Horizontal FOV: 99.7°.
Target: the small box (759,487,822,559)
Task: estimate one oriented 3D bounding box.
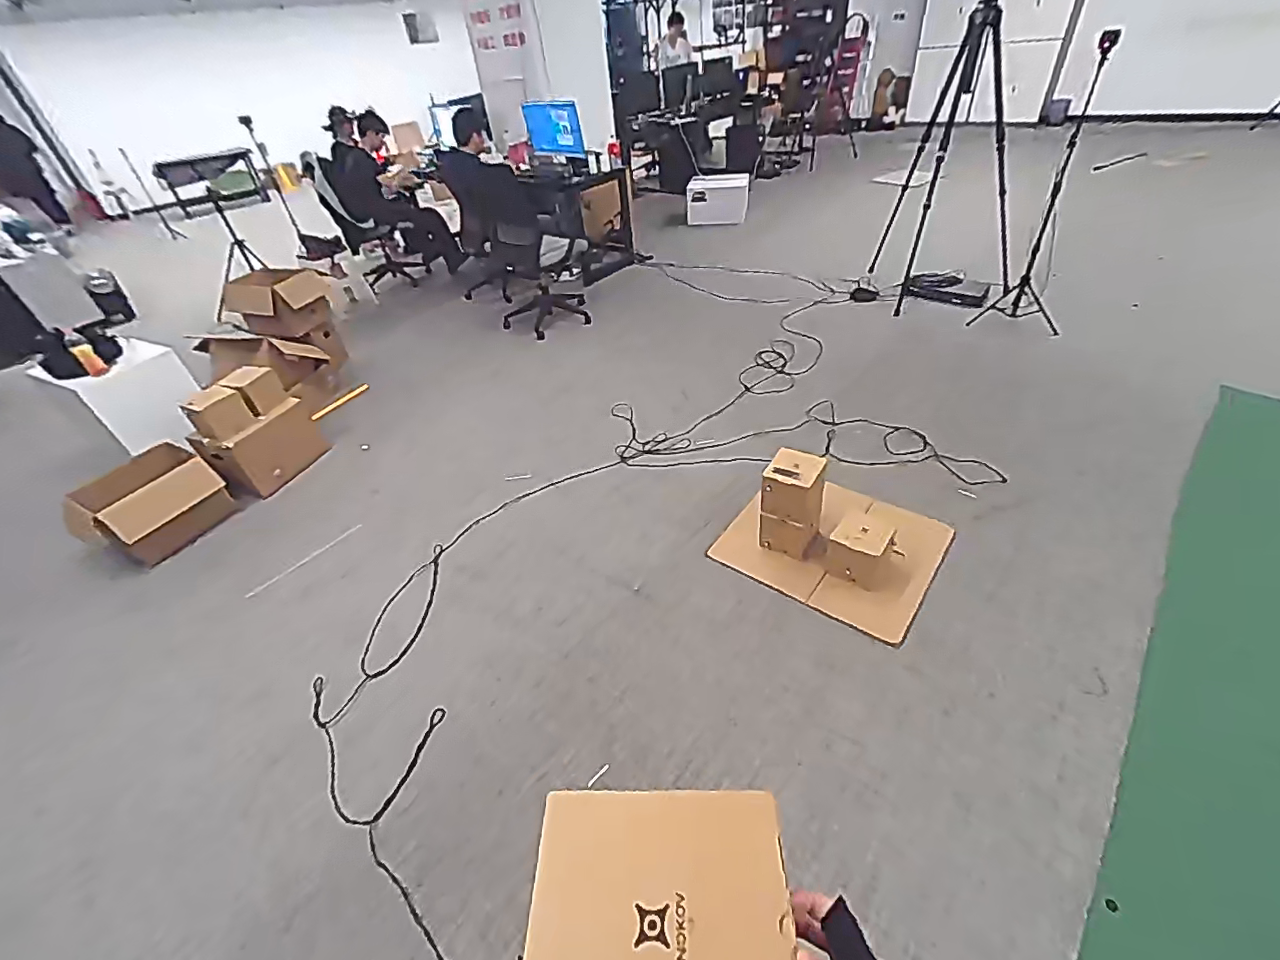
[{"bbox_3d":[0.544,0.158,1.957,0.168,0.176,0.179,19,46,30],"label":"small box"}]

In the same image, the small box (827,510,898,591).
[{"bbox_3d":[0.745,0.237,1.829,0.168,0.176,0.179,22,48,33],"label":"small box"}]

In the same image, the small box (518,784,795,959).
[{"bbox_3d":[0.016,0.348,0.401,0.179,0.176,0.168,-2,38,4],"label":"small box"}]
